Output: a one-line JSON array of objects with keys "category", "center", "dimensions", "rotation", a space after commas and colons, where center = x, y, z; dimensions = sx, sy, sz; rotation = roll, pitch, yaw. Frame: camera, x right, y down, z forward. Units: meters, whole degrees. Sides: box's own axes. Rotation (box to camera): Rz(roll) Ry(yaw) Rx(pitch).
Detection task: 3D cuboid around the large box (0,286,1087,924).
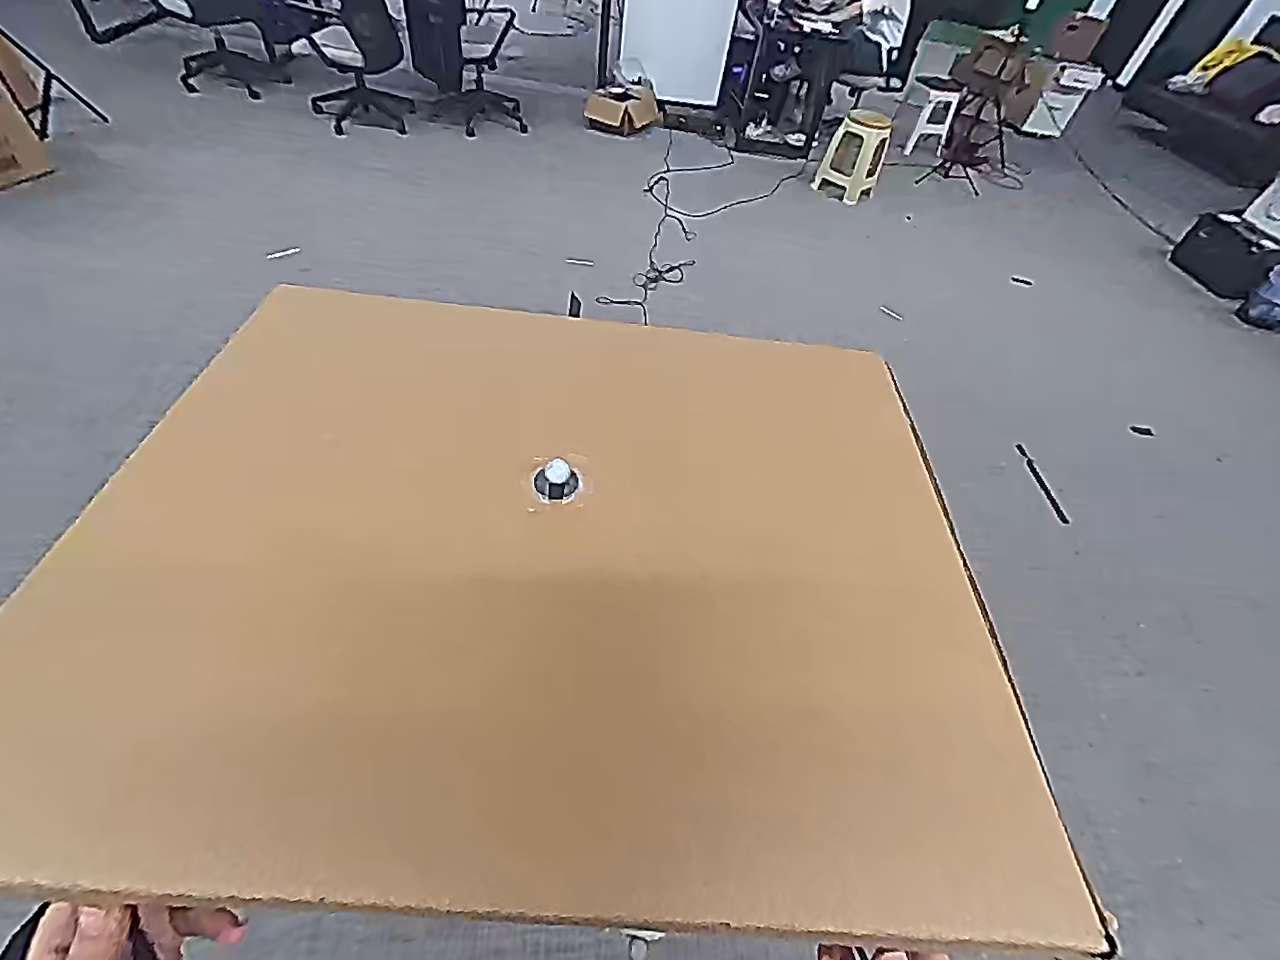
[{"category": "large box", "center": [-0.058, 0.095, 0.377], "dimensions": [0.408, 0.320, 0.320], "rotation": [5, 52, -2]}]
